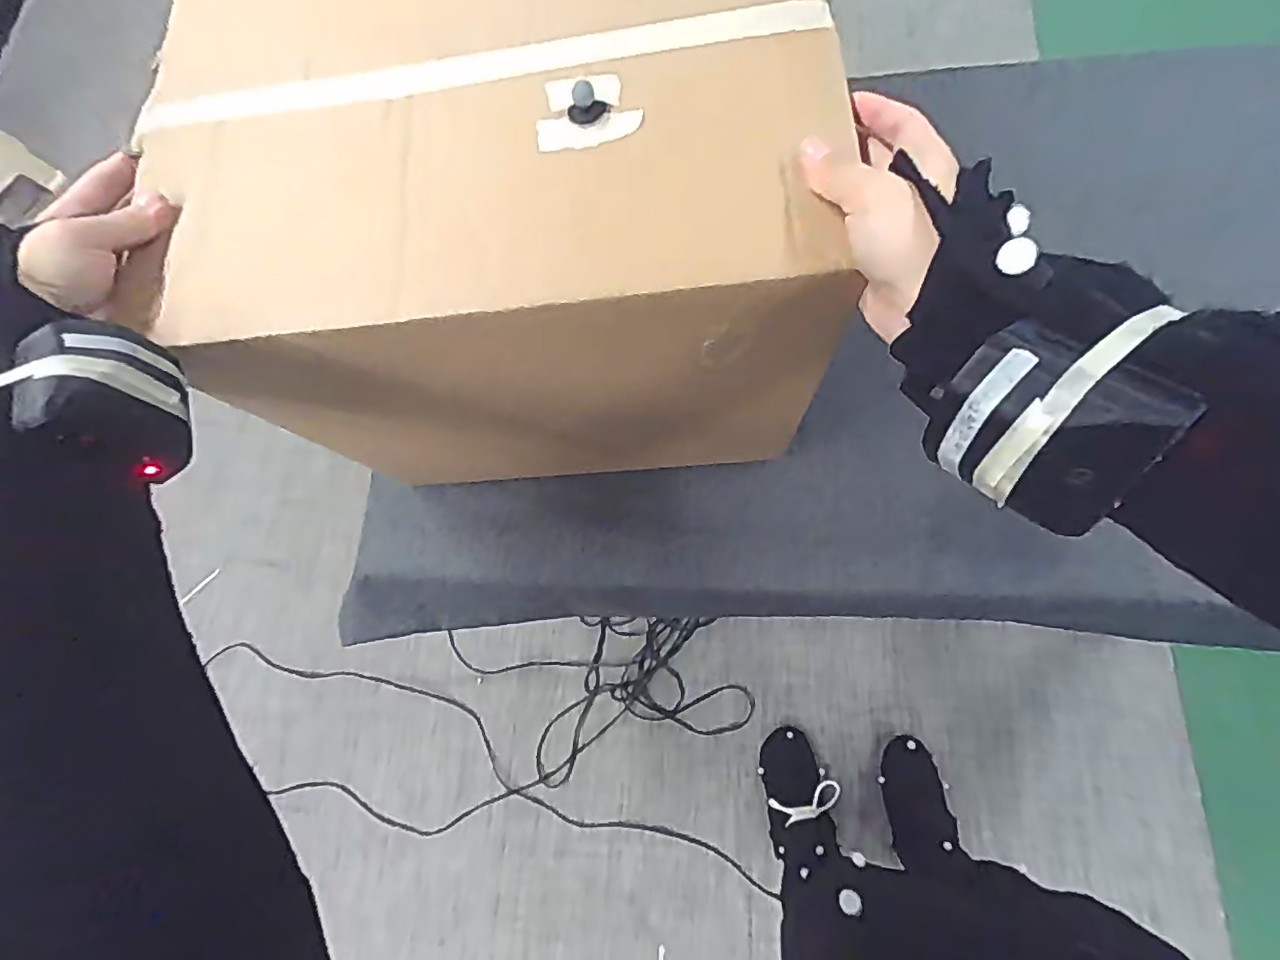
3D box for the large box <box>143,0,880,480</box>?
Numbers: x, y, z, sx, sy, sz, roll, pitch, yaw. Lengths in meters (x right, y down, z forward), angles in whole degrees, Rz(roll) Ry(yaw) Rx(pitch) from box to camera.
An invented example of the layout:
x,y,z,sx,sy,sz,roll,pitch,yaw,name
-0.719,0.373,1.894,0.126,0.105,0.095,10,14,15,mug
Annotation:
x,y,z,sx,sy,sz,roll,pitch,yaw,name
-0.074,-0.199,0.463,0.408,0.320,0.320,-5,76,4,large box
